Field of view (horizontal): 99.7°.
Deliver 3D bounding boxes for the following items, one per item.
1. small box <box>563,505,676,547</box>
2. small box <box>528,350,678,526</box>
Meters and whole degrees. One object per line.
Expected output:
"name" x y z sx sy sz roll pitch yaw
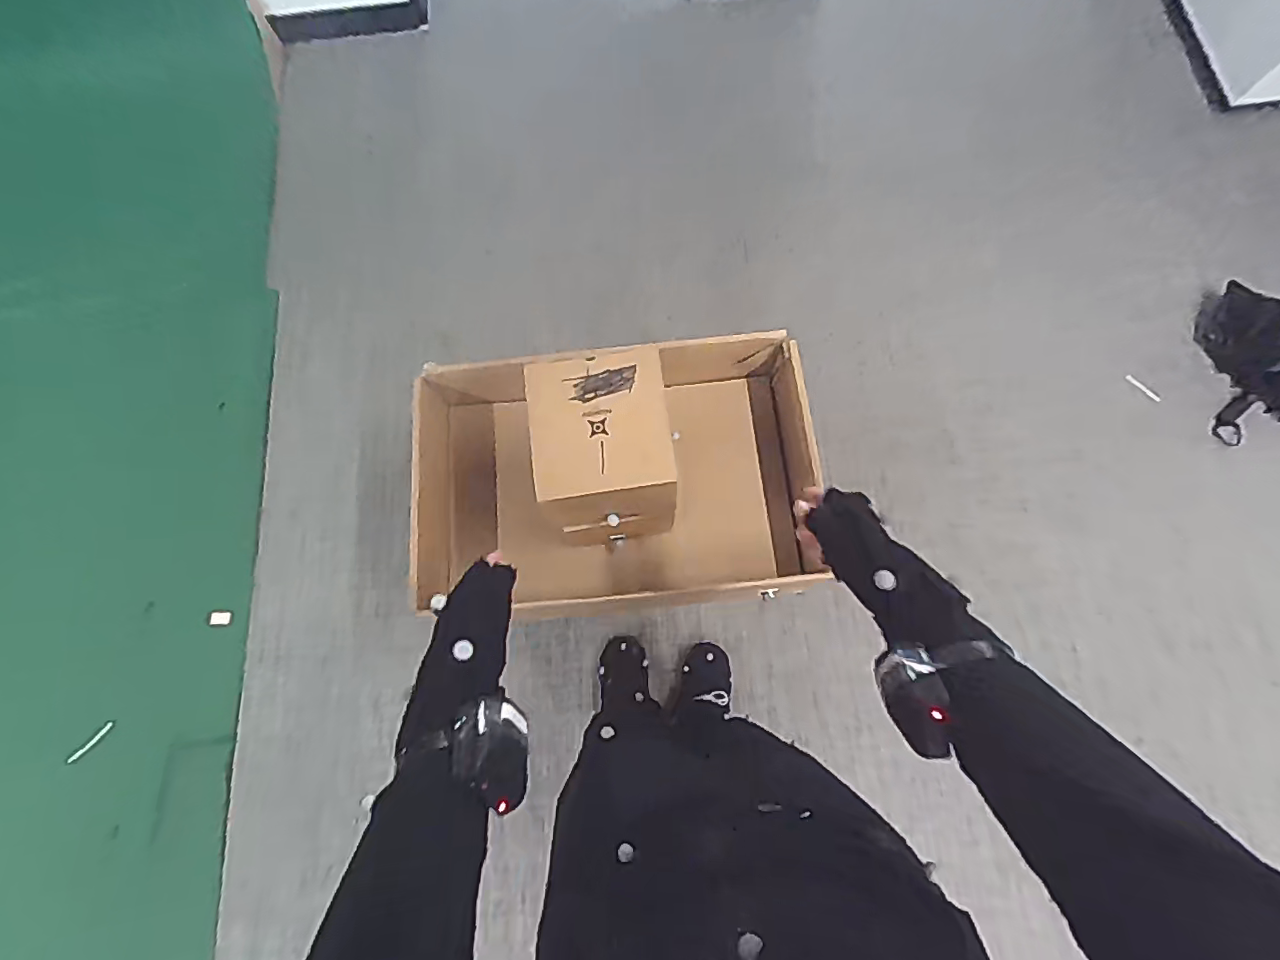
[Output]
"small box" -0.039 -0.001 0.873 0.168 0.176 0.179 -10 75 0
"small box" -0.045 -0.047 0.716 0.168 0.176 0.179 -8 75 1
